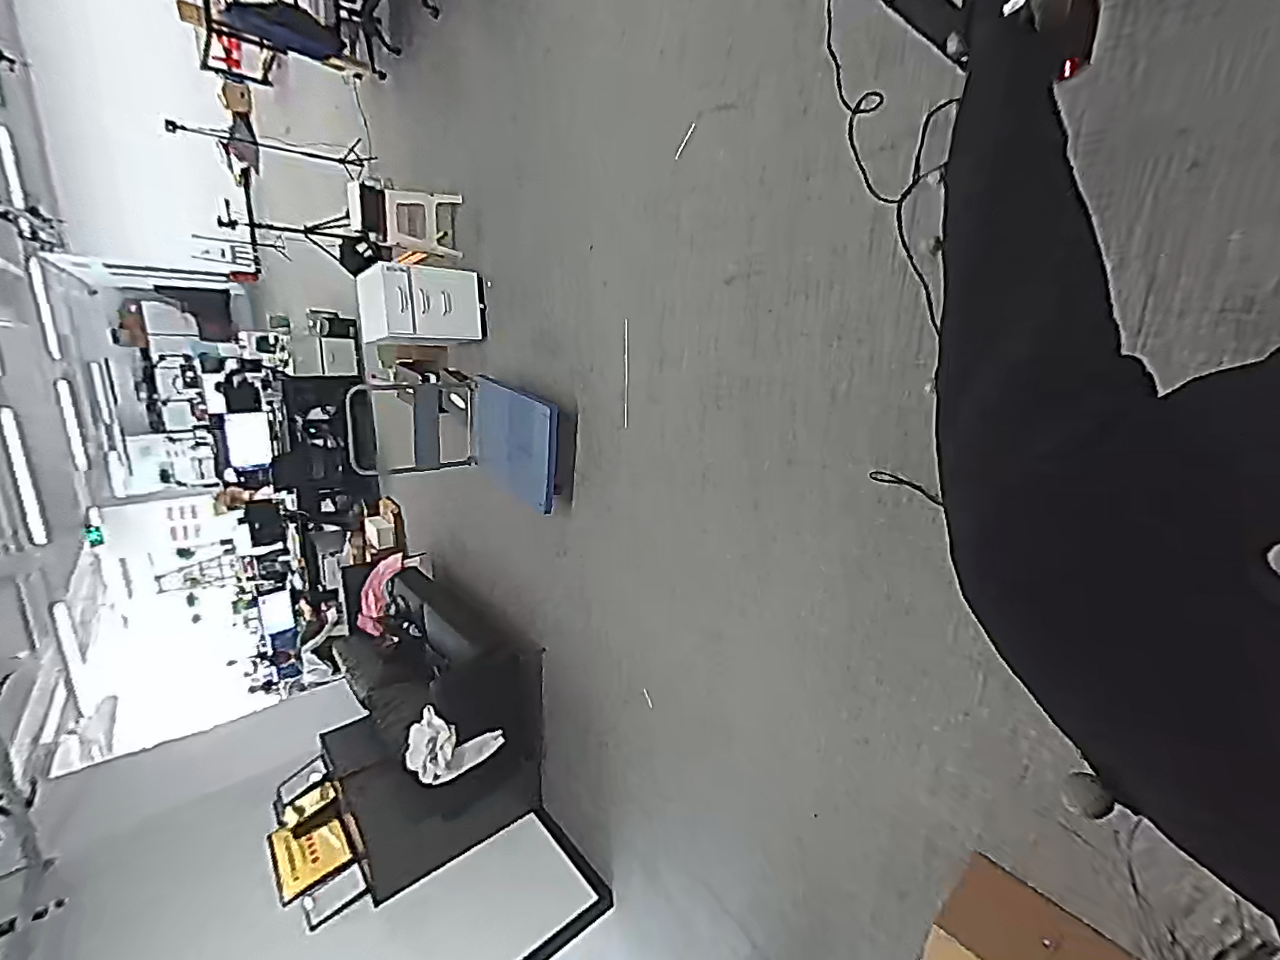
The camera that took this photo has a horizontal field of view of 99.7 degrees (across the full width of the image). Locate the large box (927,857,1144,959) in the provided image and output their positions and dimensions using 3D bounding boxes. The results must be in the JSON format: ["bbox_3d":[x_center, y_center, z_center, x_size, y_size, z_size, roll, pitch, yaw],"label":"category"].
[{"bbox_3d":[0.965,1.261,1.327,0.408,0.320,0.320,18,112,45],"label":"large box"}]
